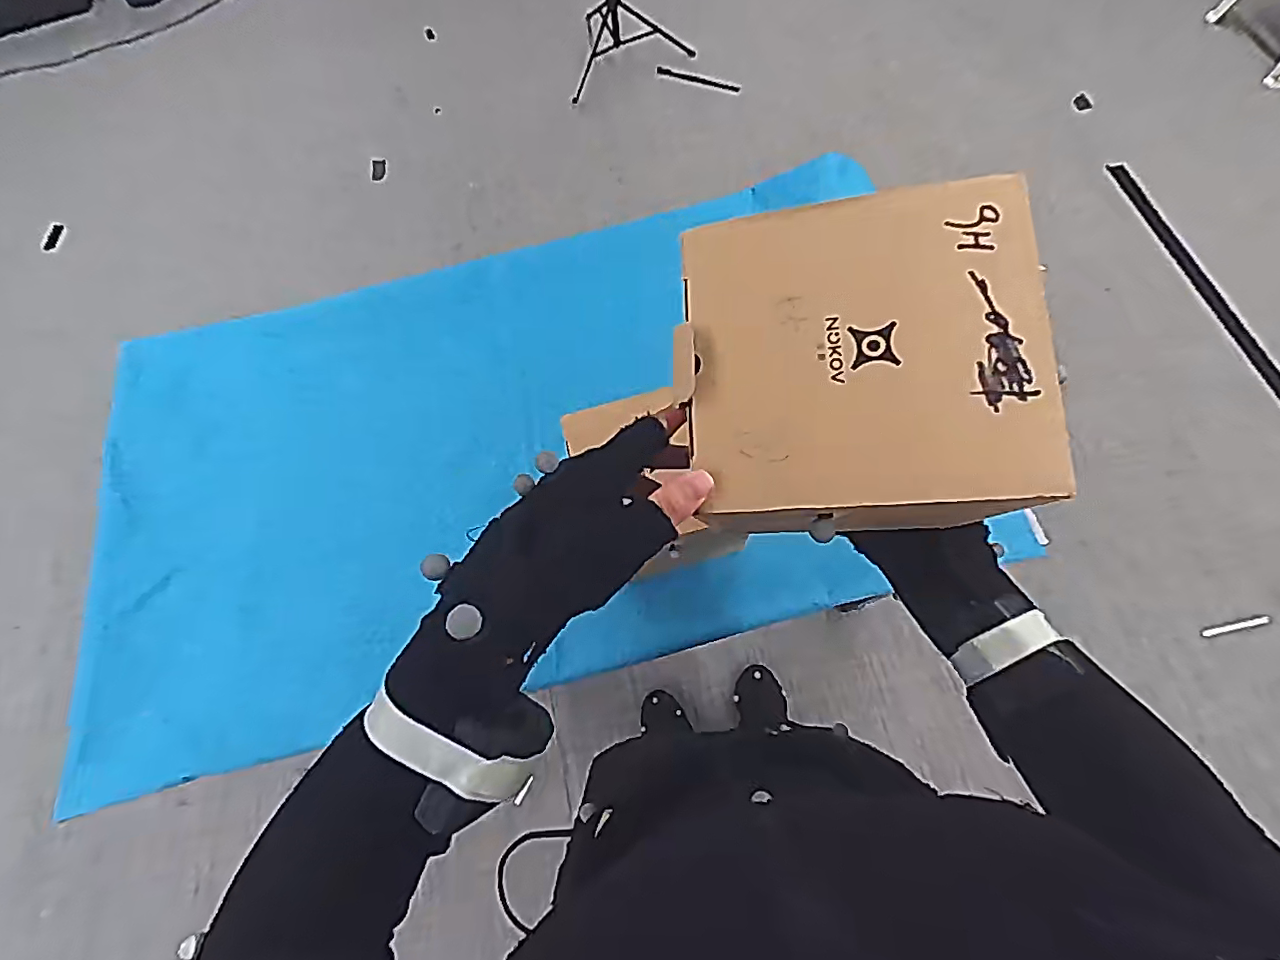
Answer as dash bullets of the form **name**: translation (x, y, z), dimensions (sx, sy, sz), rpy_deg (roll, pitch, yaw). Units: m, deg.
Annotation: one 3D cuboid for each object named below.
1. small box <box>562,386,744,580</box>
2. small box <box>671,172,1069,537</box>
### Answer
- **small box**: translation (0.024, 0.011, 0.641), dimensions (0.179, 0.176, 0.168), rpy_deg (-15, 70, 1)
- **small box**: translation (0.125, -0.054, 0.353), dimensions (0.179, 0.176, 0.168), rpy_deg (-6, 79, 12)
